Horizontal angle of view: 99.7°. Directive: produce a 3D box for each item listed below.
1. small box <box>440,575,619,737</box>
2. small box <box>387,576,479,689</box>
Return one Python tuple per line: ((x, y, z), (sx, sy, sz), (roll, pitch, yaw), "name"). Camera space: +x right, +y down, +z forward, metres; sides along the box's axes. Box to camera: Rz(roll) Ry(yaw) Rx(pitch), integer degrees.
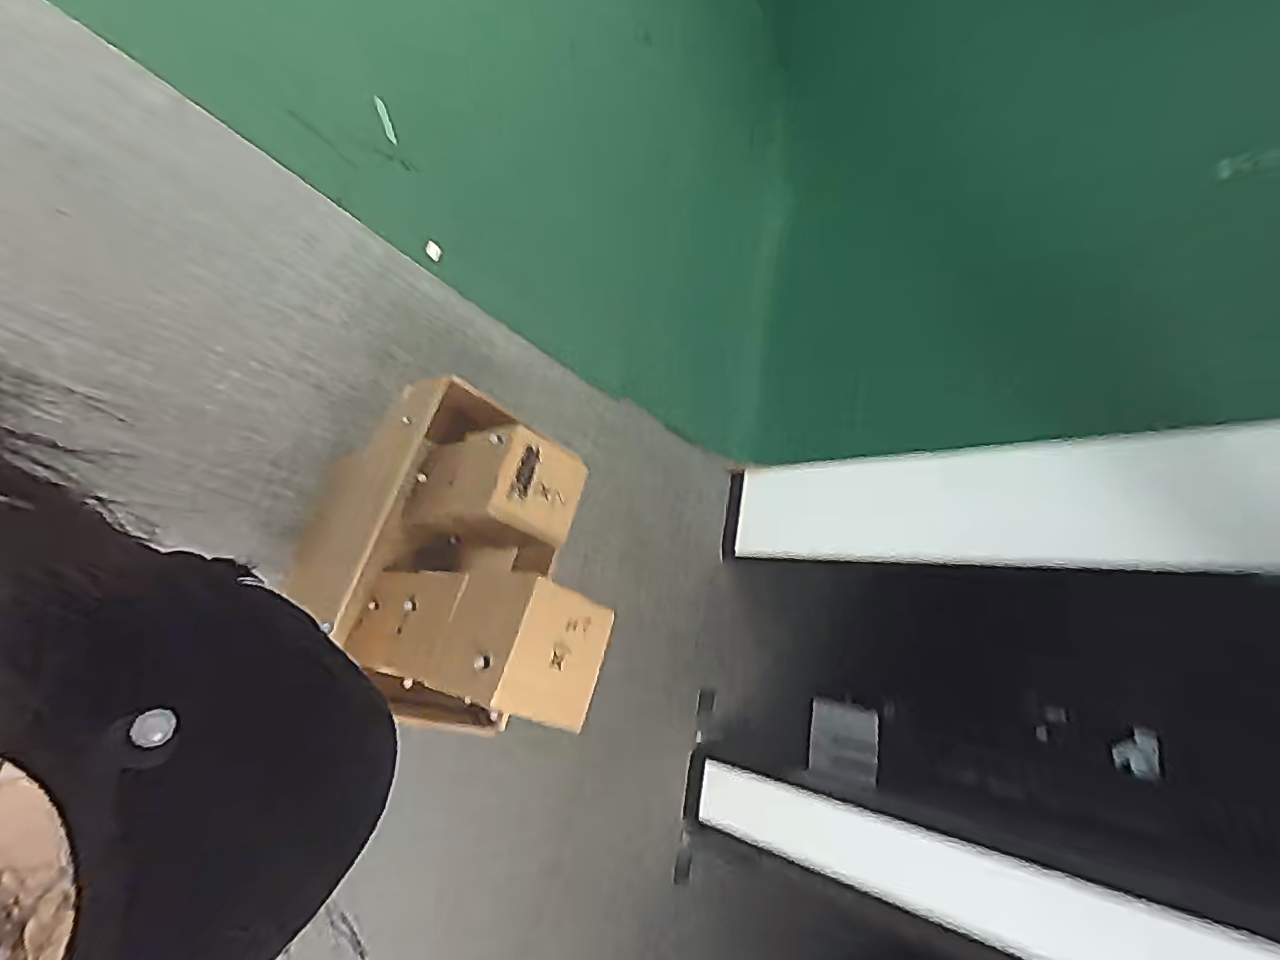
((-0.164, 0.251, 0.793), (0.168, 0.176, 0.179), (39, 57, -38), "small box")
((-0.282, 0.265, 0.907), (0.179, 0.176, 0.168), (37, 60, -38), "small box")
